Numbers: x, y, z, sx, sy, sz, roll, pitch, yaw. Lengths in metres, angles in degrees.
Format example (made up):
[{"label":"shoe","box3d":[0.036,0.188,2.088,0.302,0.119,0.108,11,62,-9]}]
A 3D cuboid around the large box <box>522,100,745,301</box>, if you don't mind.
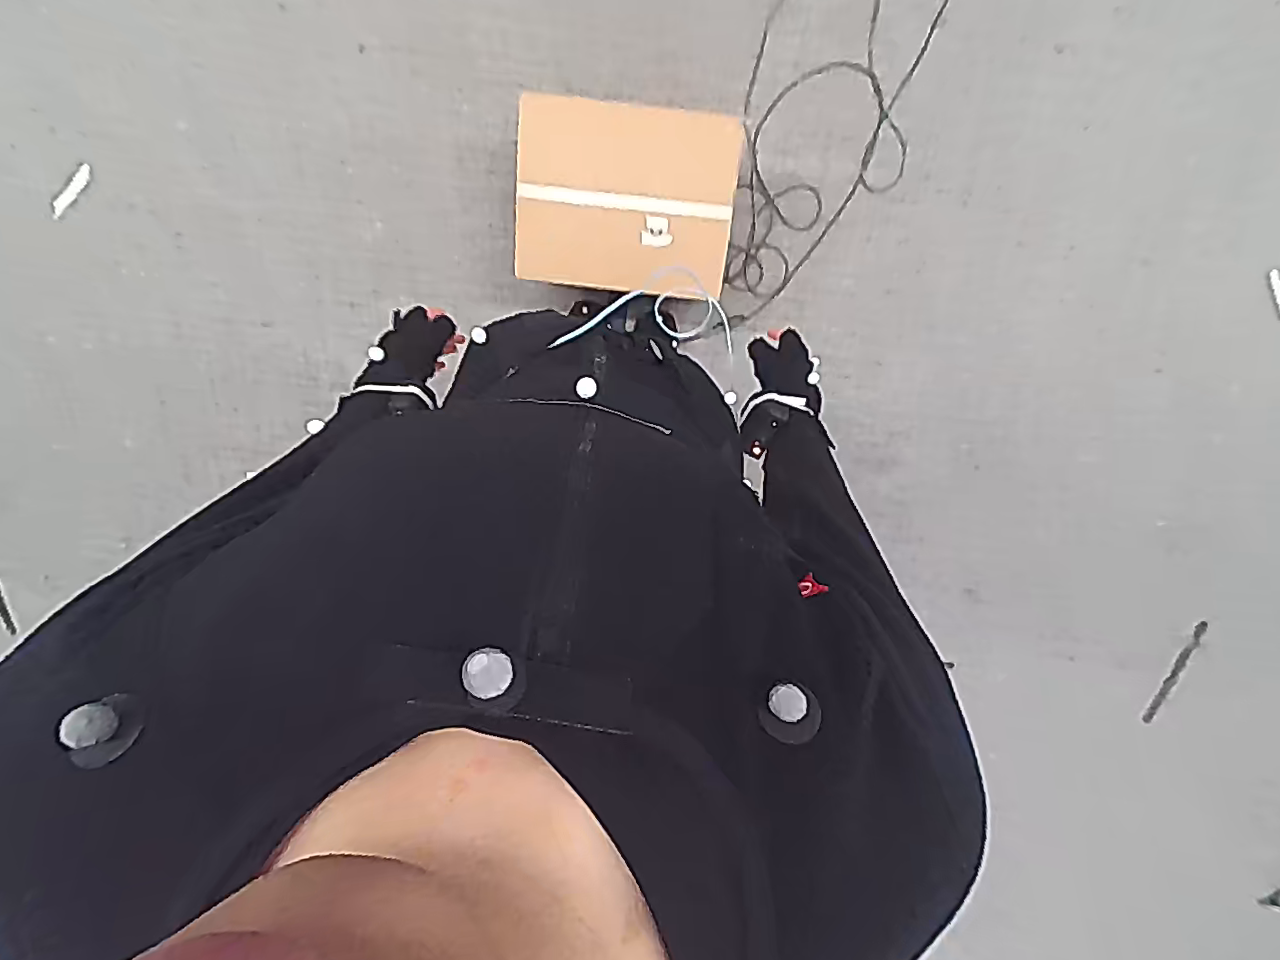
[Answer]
[{"label":"large box","box3d":[-0.021,-0.565,1.159,0.408,0.320,0.320,7,110,-1]}]
